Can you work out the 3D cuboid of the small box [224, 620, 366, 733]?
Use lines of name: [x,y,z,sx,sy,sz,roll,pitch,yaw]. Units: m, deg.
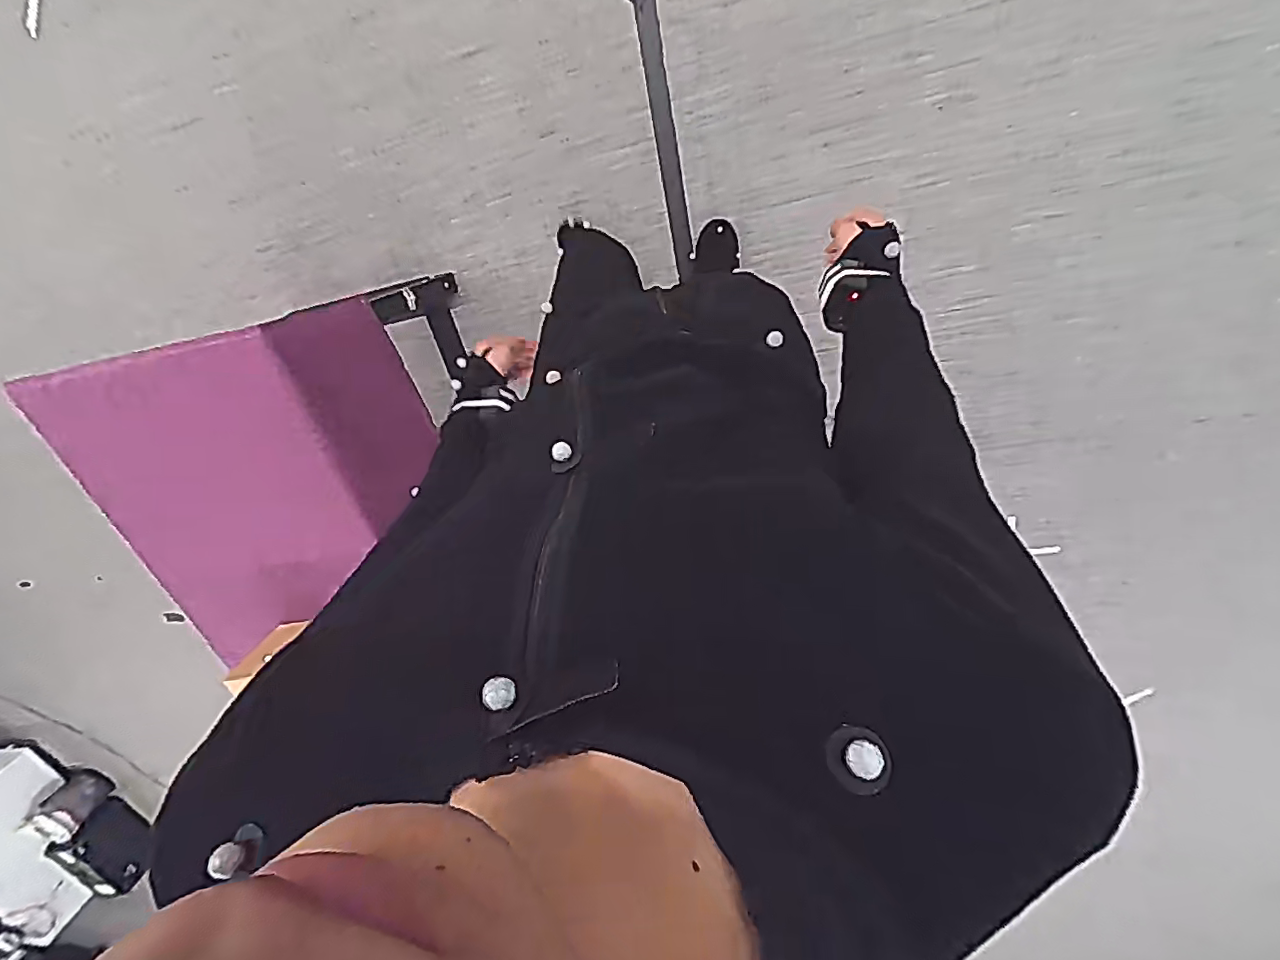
small box: [-0.737,0.425,1.184,0.179,0.176,0.168,-10,116,15]
